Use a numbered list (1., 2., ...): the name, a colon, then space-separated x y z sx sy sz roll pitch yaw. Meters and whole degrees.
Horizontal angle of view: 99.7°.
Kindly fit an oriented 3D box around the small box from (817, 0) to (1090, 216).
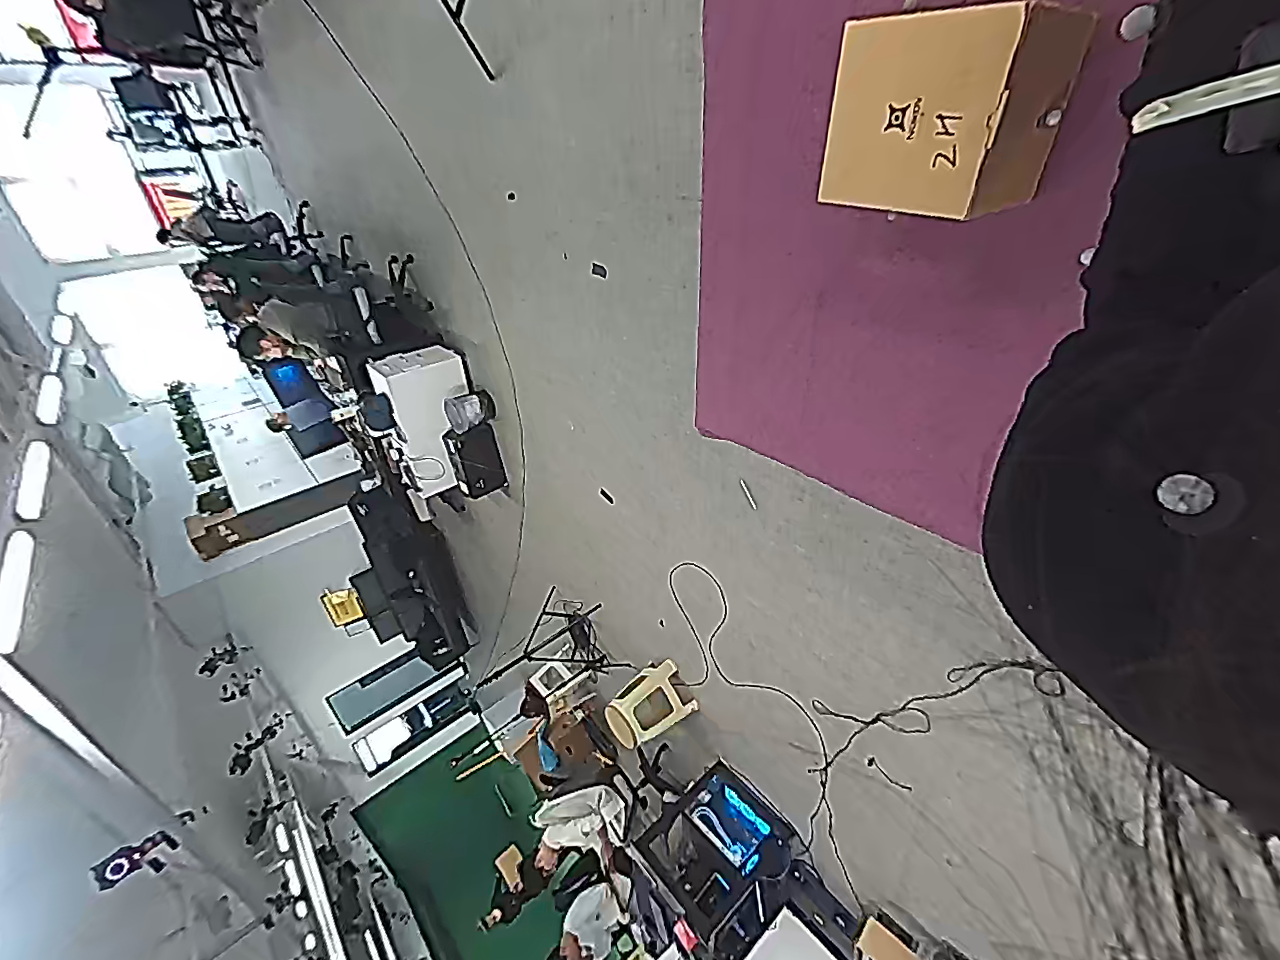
1. small box: 0.325 -0.394 0.581 0.179 0.176 0.168 34 139 39
